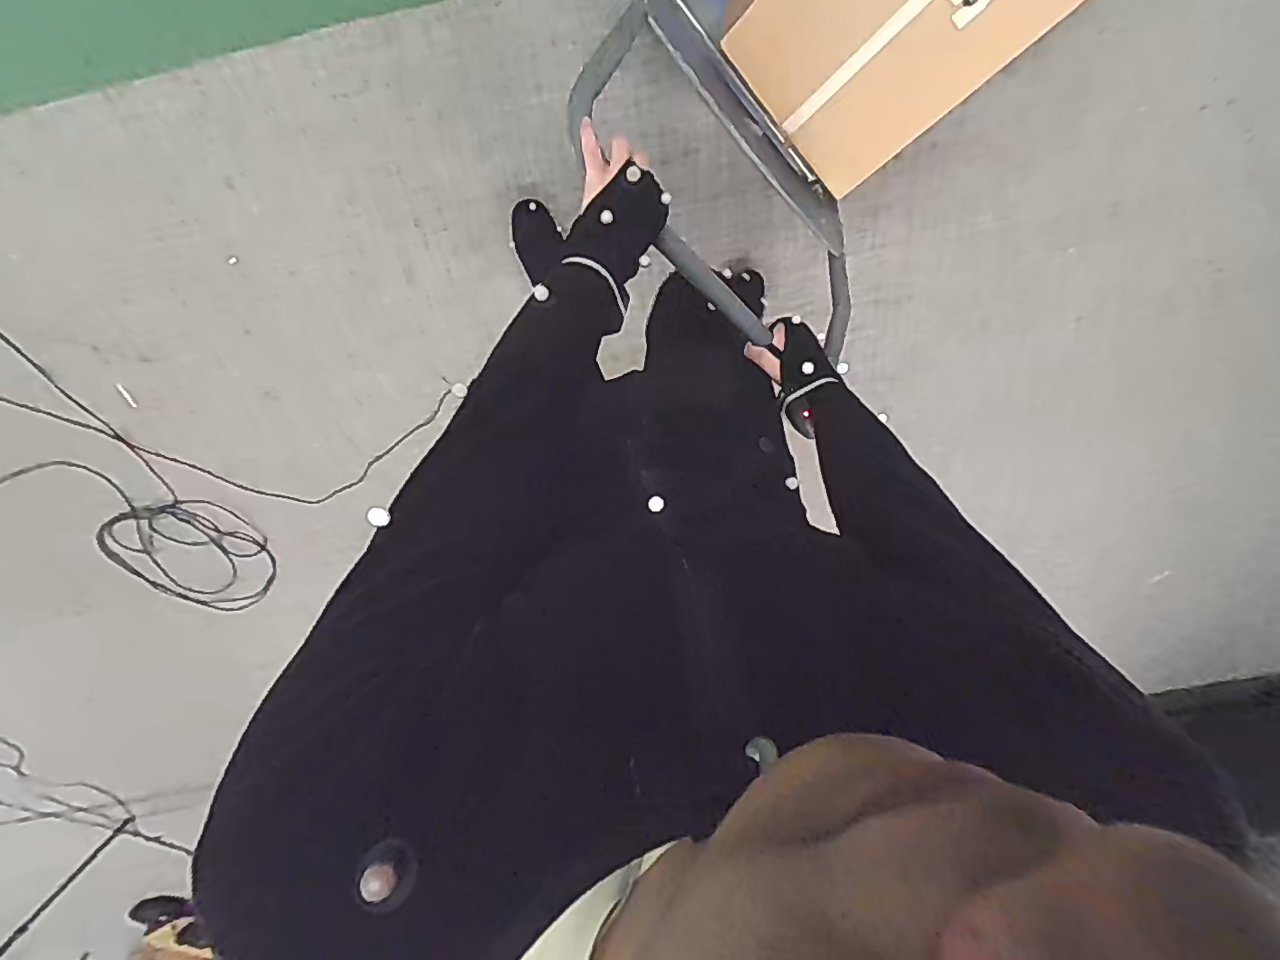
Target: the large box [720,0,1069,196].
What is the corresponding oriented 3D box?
[{"bbox_3d":[0.375,-0.760,0.850,0.320,0.320,0.408,36,132,-27],"label":"large box"}]
